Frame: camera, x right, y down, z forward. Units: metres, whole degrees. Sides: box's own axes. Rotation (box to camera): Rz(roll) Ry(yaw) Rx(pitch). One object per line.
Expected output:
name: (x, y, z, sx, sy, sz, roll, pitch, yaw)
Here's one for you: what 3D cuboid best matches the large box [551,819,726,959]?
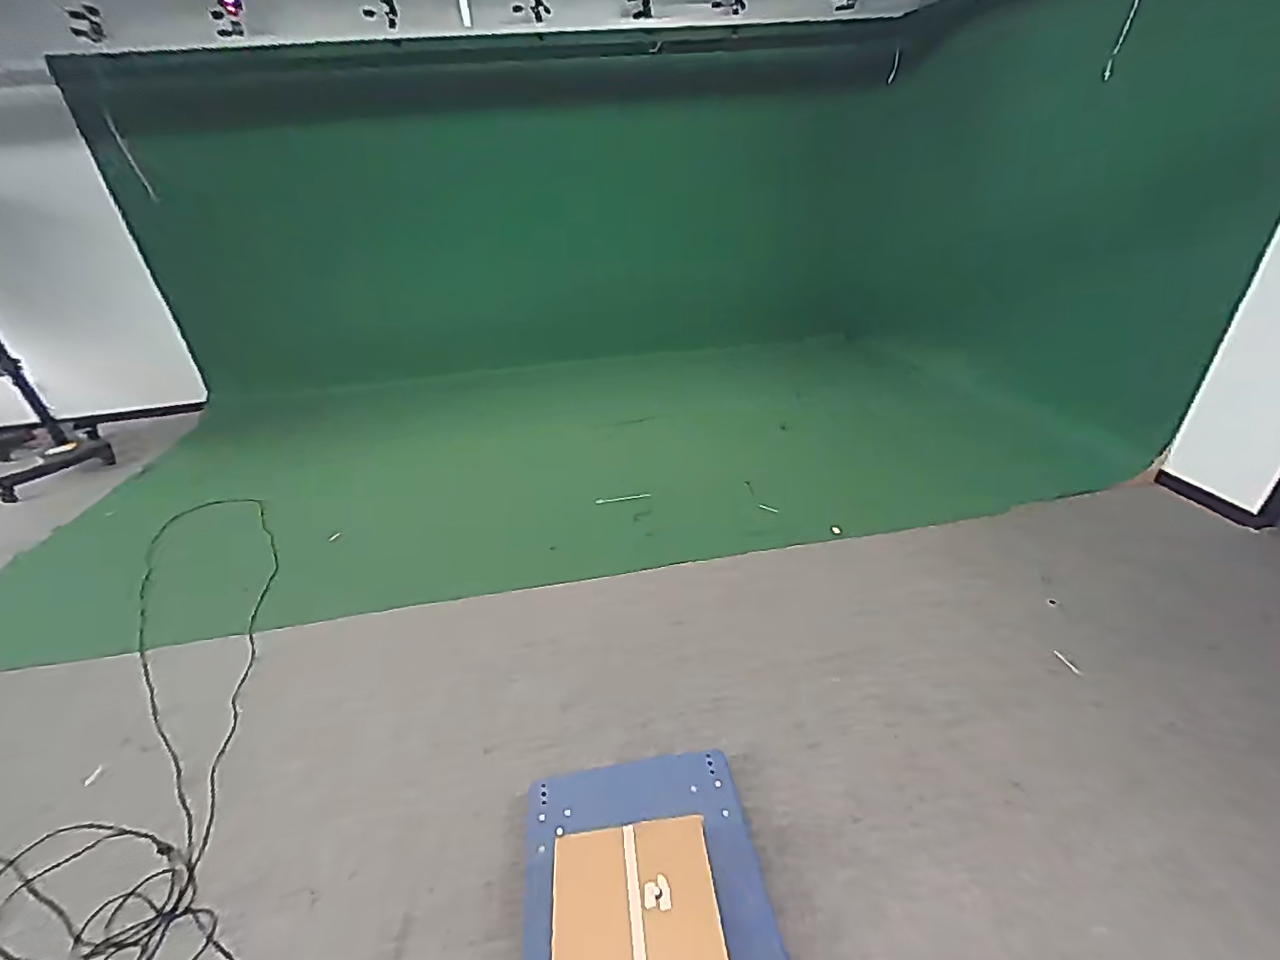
large box: (0.003, 0.970, 1.054, 0.320, 0.320, 0.408, -6, 30, -4)
